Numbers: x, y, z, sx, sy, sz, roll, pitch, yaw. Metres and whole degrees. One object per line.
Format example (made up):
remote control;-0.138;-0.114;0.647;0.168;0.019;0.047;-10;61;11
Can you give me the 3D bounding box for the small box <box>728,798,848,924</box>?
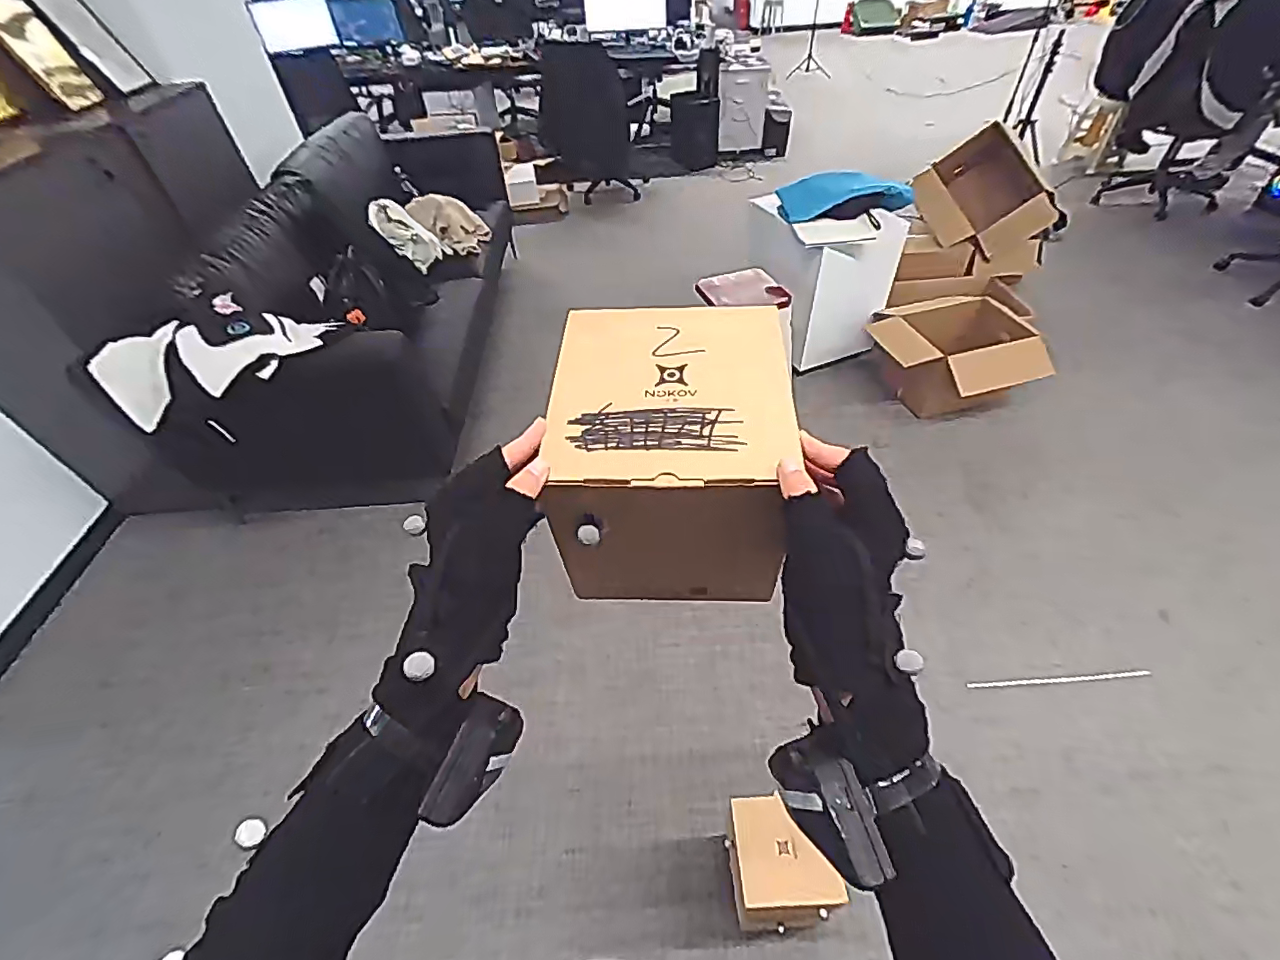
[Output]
small box;0.261;0.711;1.007;0.179;0.176;0.168;-3;46;0
